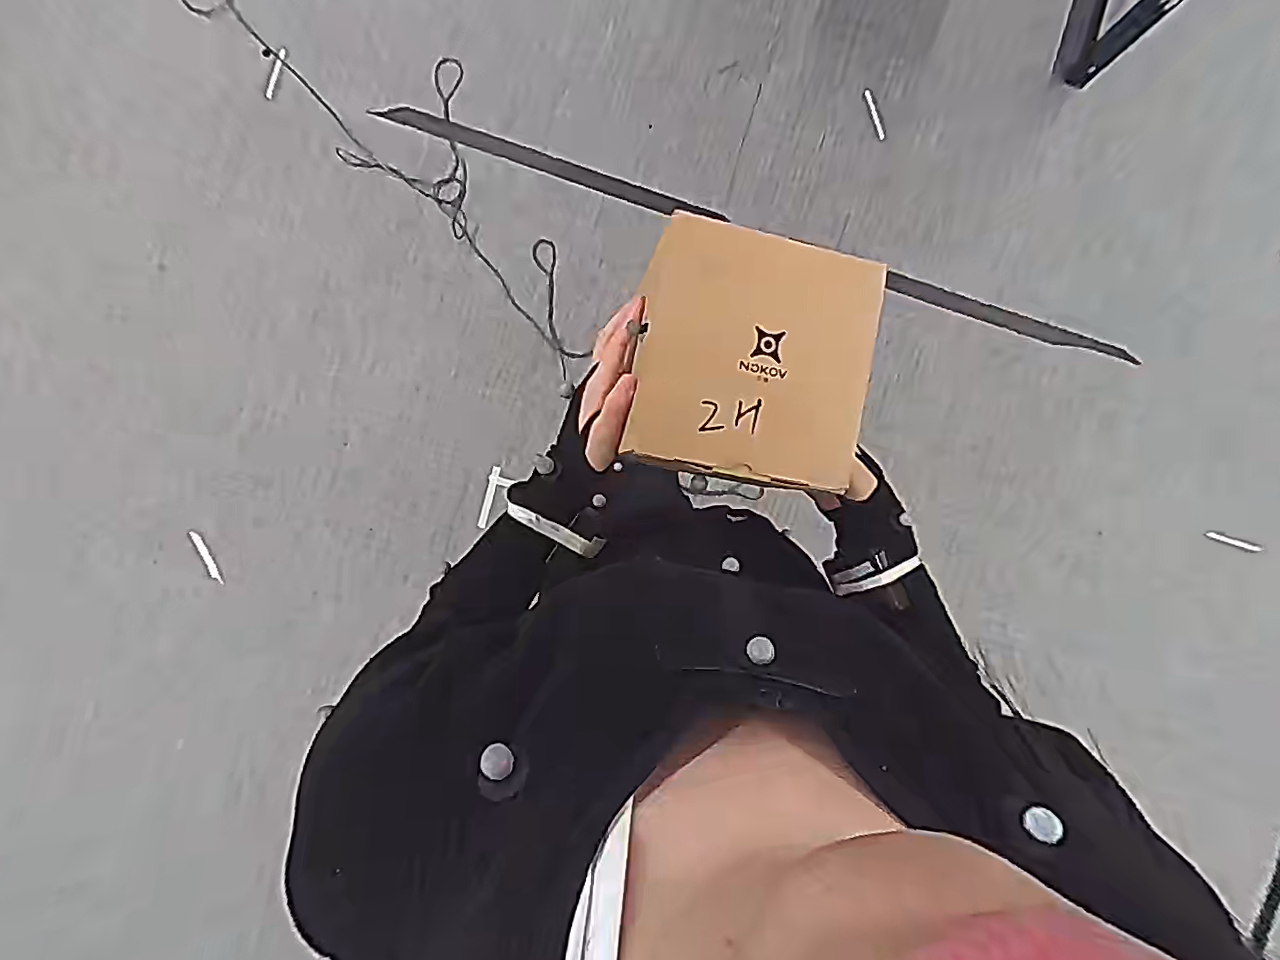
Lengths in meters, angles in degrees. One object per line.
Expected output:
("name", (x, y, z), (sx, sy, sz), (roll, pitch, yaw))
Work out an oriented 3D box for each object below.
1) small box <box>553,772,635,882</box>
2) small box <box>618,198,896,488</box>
("small box", (-0.116, 0.891, 1.404), (0.179, 0.176, 0.168), (12, 90, -2))
("small box", (0.081, -0.096, 0.460), (0.168, 0.176, 0.179), (11, 90, -9))
